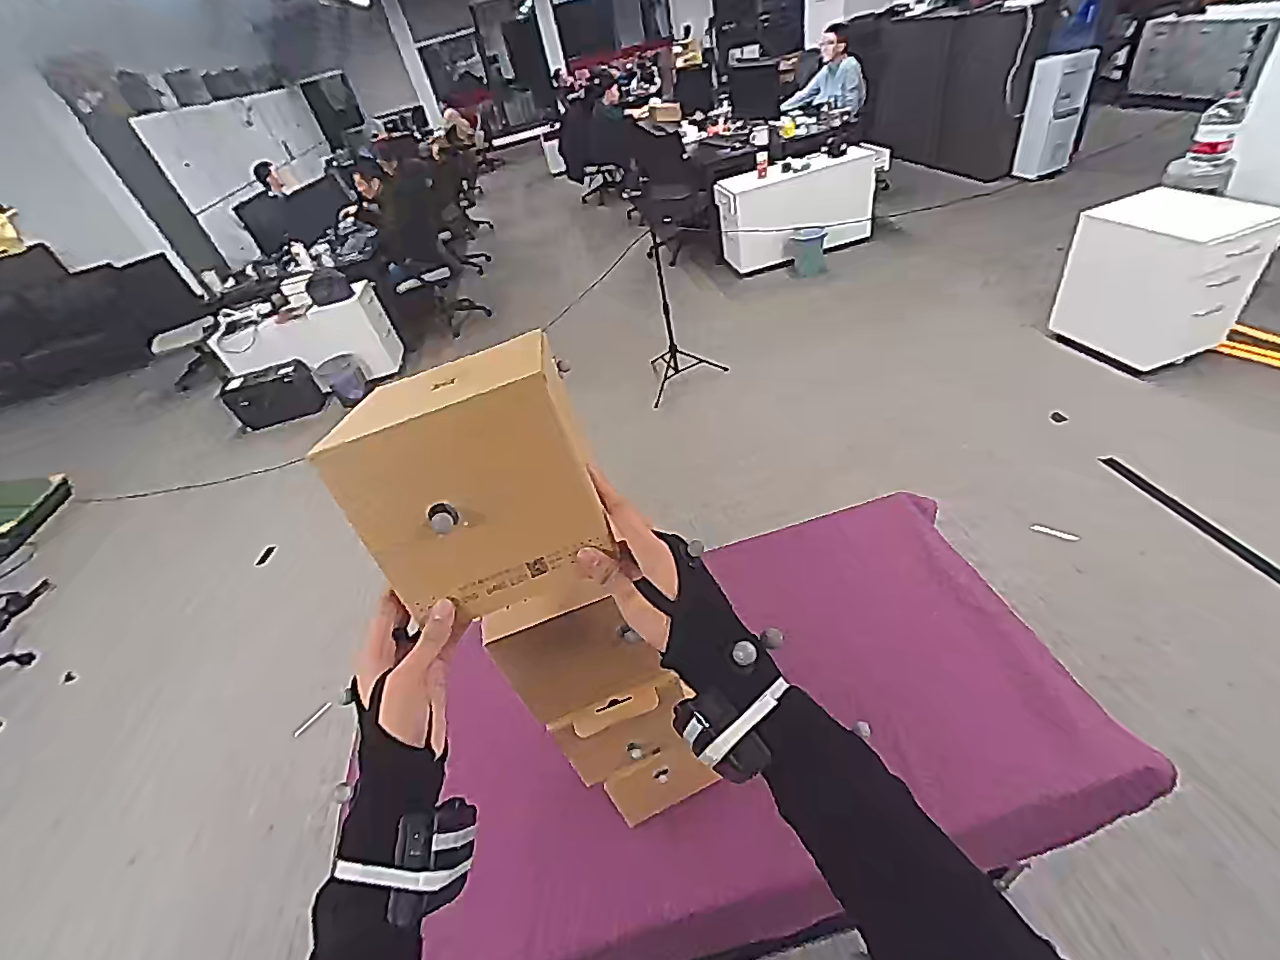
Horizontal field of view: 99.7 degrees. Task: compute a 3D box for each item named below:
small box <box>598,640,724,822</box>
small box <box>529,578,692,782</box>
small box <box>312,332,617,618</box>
[{"bbox_3d":[0.014,0.392,0.842,0.179,0.176,0.168,-22,41,-10],"label":"small box"},{"bbox_3d":[-0.040,0.272,0.741,0.168,0.176,0.179,-20,40,-5],"label":"small box"},{"bbox_3d":[-0.127,-0.006,0.462,0.168,0.176,0.179,-20,25,-1],"label":"small box"}]
